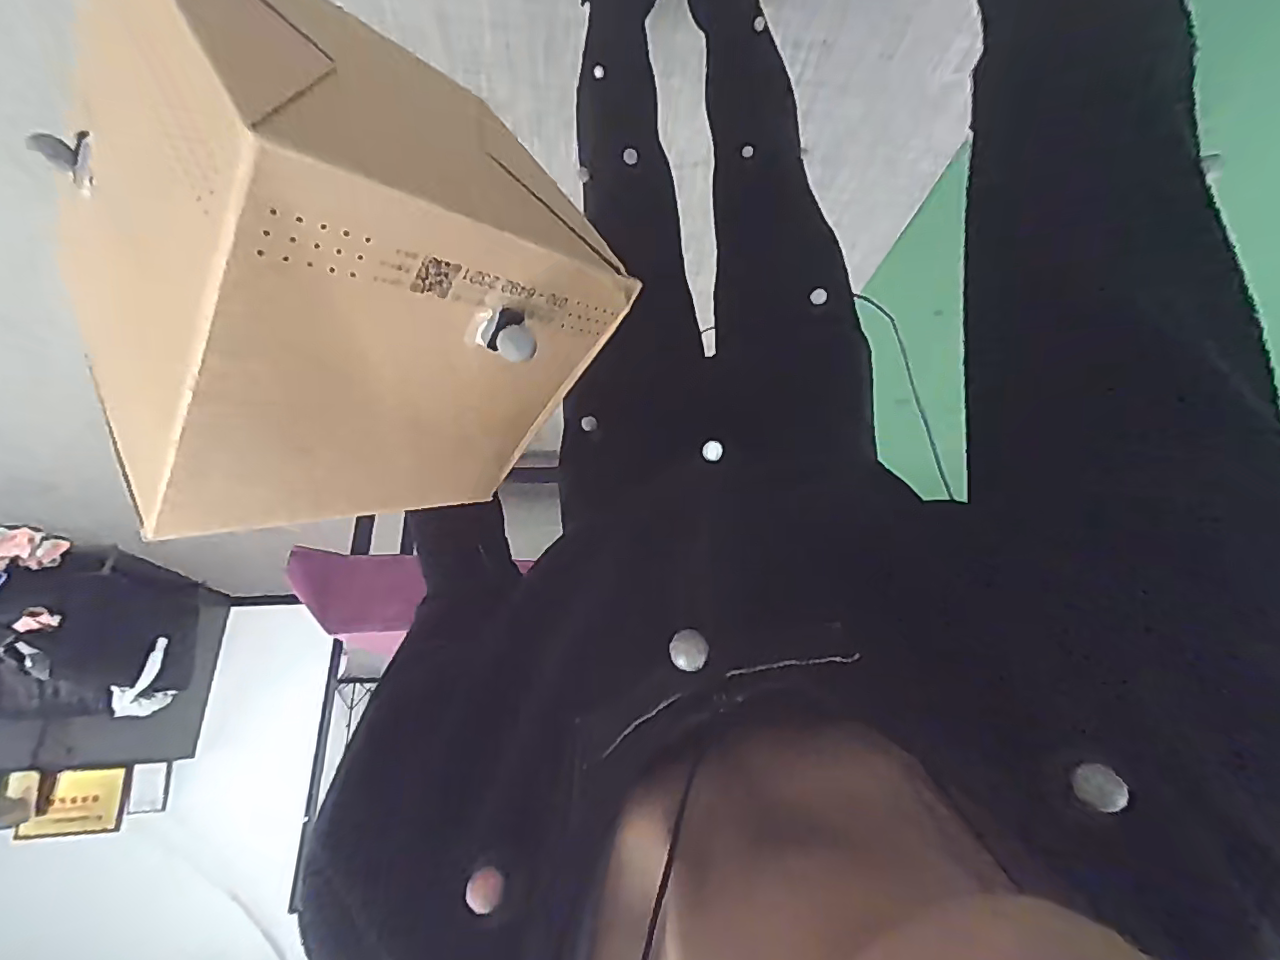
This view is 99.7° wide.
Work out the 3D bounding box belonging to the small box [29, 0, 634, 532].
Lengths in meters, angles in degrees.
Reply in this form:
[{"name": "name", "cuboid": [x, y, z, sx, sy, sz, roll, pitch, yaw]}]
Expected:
[{"name": "small box", "cuboid": [-0.135, -0.104, 0.247, 0.176, 0.179, 0.168, -47, 158, 28]}]
